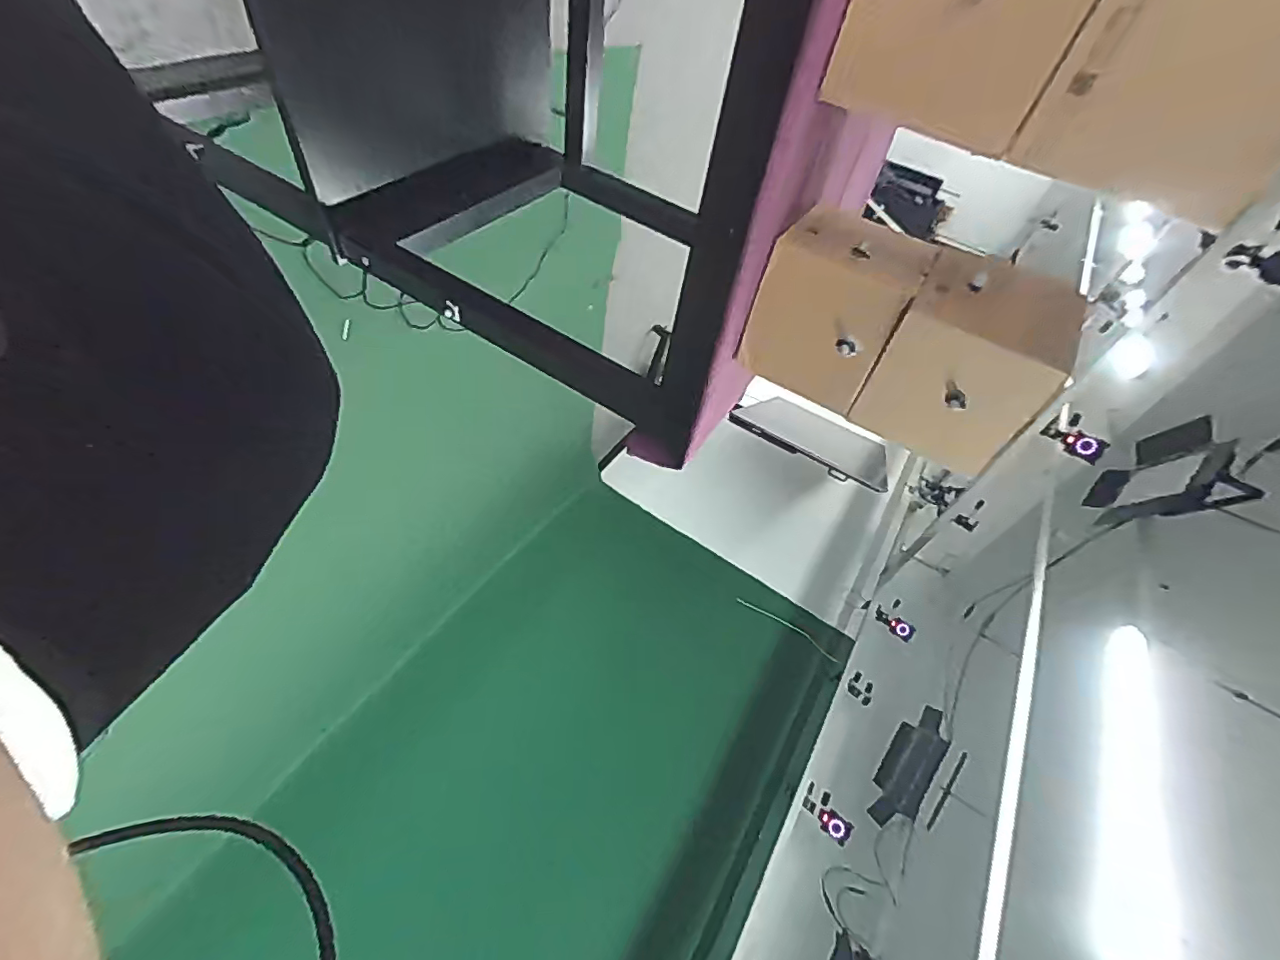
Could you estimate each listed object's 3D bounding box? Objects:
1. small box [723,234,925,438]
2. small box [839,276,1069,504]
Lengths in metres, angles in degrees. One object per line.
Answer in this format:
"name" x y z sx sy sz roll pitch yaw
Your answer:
"small box" 0.227 -0.193 0.693 0.168 0.176 0.179 -47 162 -40
"small box" 0.363 -0.111 0.653 0.168 0.176 0.179 -50 162 -34
